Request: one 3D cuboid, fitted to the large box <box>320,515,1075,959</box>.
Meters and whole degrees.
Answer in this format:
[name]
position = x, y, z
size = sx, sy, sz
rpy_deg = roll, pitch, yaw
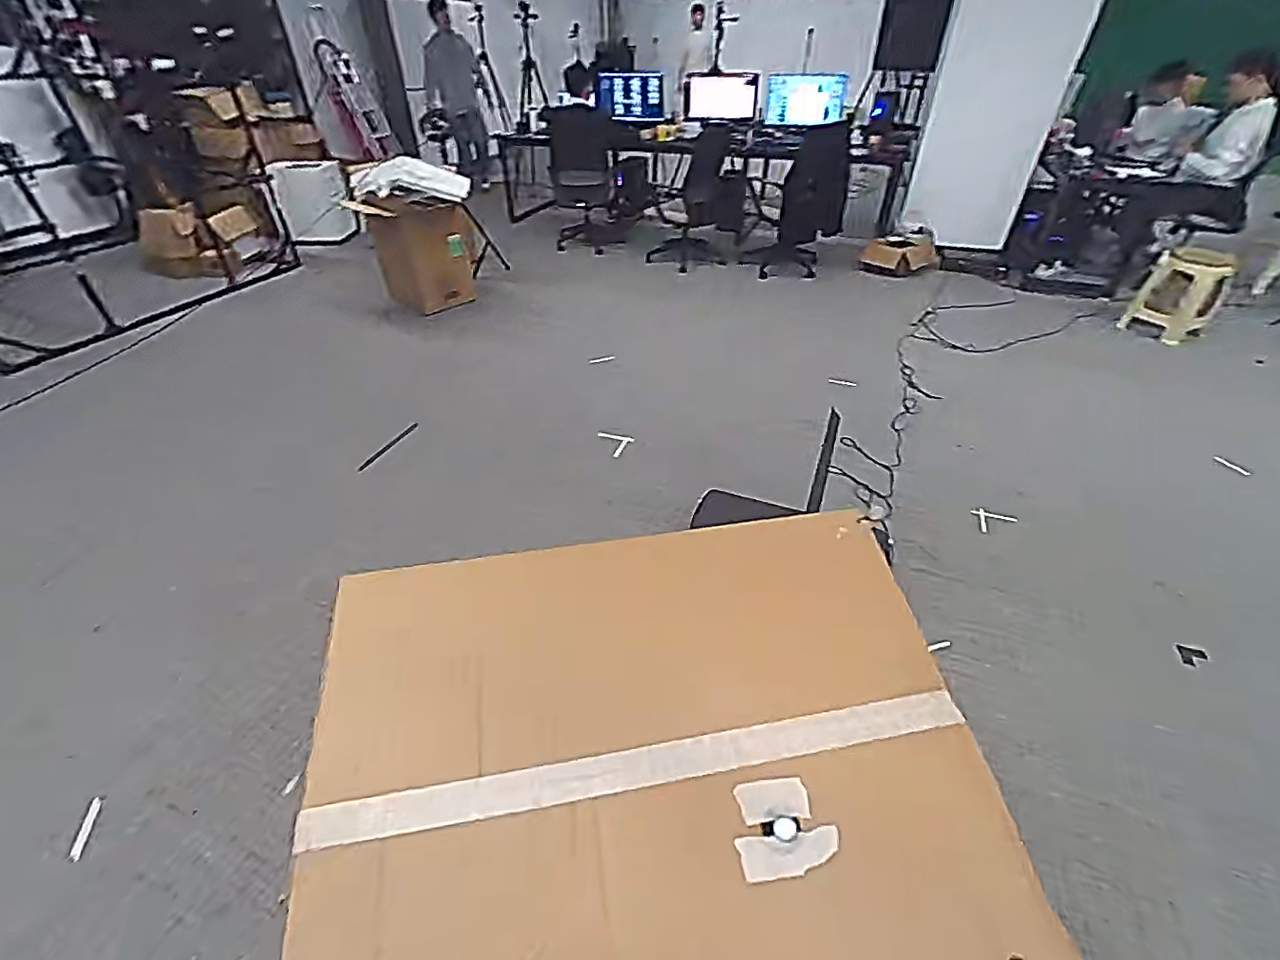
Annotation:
[large box]
position = 0.011, 0.261, 0.461
size = 0.408, 0.320, 0.320
rpy_deg = -6, 57, -7
